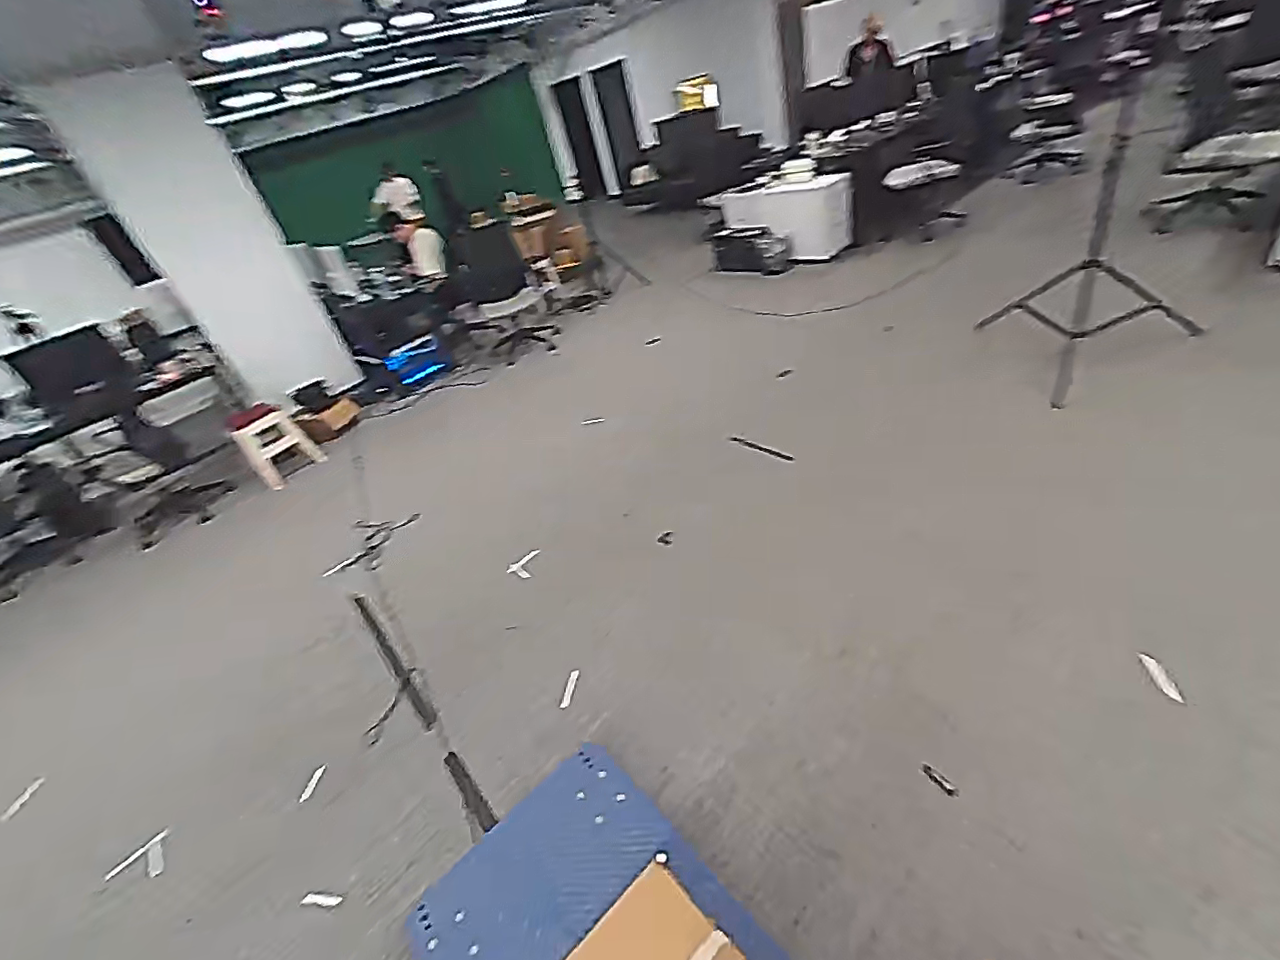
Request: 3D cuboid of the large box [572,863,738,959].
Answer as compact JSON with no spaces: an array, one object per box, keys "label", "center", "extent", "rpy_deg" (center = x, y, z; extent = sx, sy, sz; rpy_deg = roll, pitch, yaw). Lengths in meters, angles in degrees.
[{"label":"large box","center":[0.018,0.945,0.845],"extent":[0.408,0.320,0.320],"rpy_deg":[-35,39,-25]}]
